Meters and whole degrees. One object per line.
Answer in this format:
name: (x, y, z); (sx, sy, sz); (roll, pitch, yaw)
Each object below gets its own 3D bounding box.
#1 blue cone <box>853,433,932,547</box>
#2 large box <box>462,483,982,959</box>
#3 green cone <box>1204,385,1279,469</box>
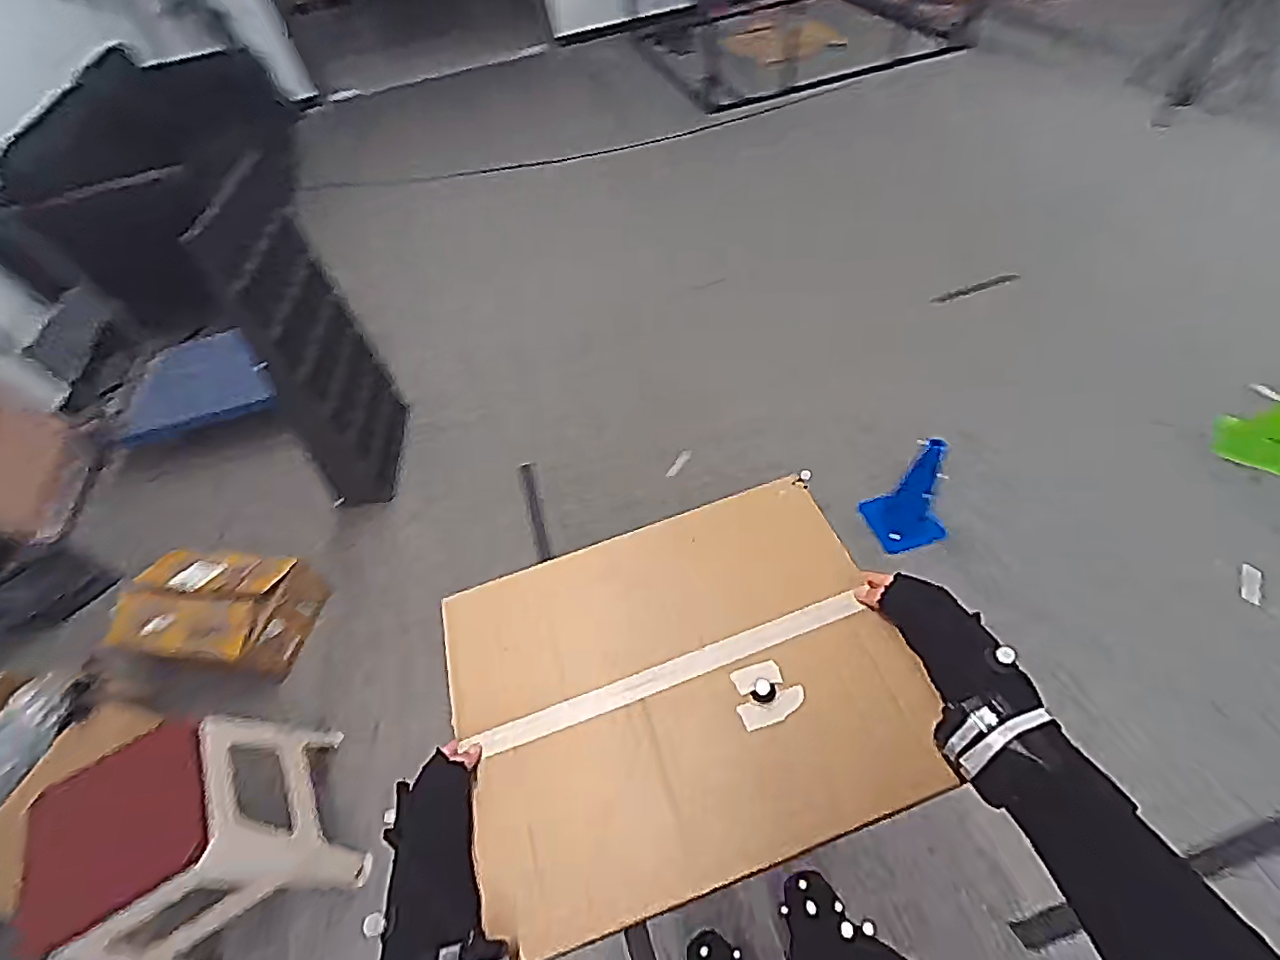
blue cone: (0.761, 0.013, 1.546); (0.193, 0.380, 0.192); (-16, 51, -4)
large box: (0.060, 0.266, 0.617); (0.408, 0.320, 0.320); (-18, 54, -5)
green cone: (1.865, -0.235, 1.547); (0.202, 0.368, 0.200); (25, 59, 27)
